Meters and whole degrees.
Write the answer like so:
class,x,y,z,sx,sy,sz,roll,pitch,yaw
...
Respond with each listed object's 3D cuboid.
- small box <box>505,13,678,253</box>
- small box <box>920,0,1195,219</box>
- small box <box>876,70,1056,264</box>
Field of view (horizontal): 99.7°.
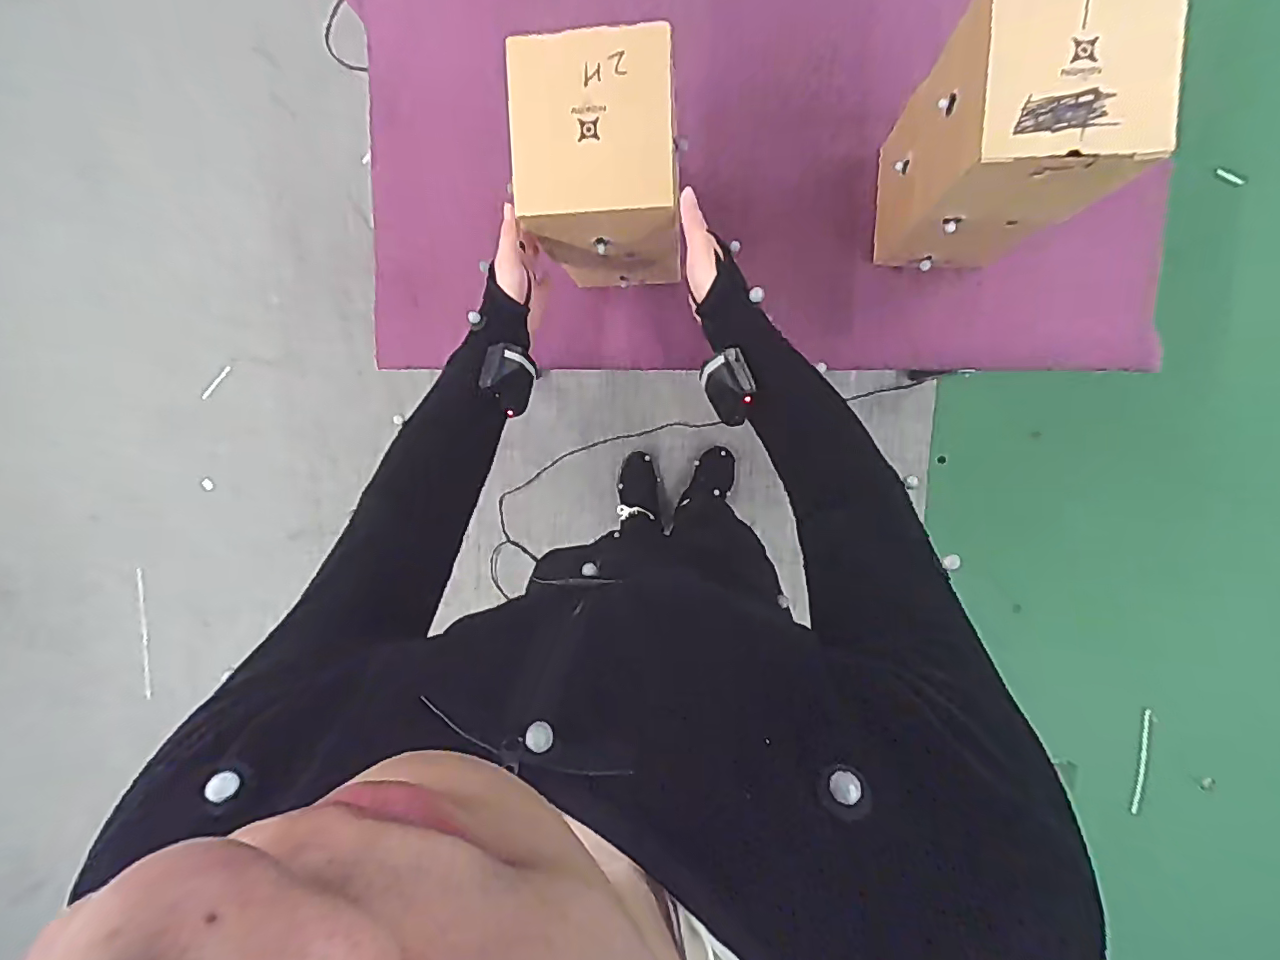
class,x,y,z,sx,sy,sz,roll,pitch,yaw
small box,-0.043,-0.367,0.611,0.168,0.176,0.179,-1,96,5
small box,0.410,-0.390,0.563,0.168,0.176,0.179,3,94,7
small box,0.430,-0.407,0.725,0.168,0.176,0.179,3,96,7
